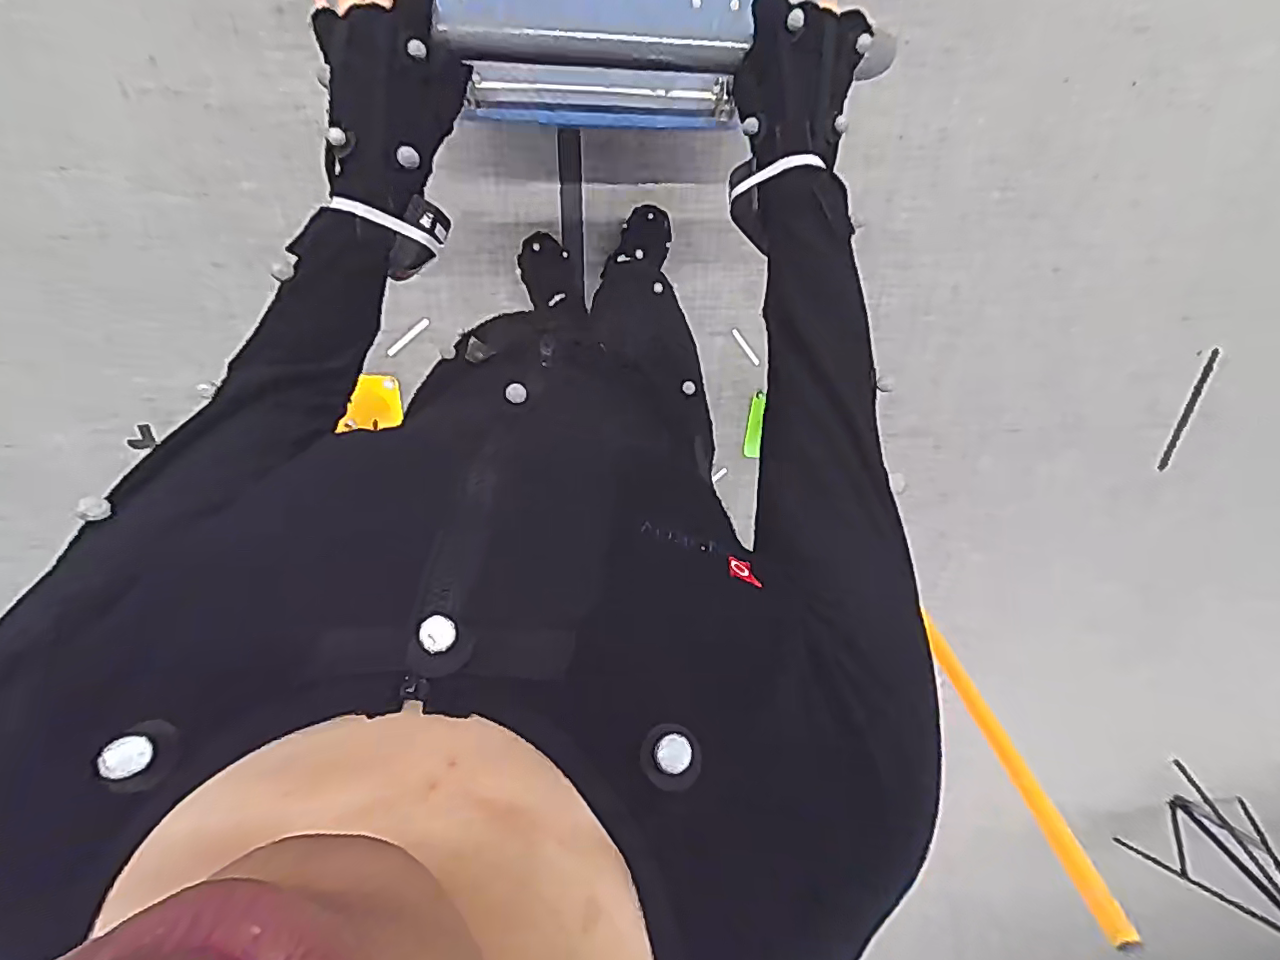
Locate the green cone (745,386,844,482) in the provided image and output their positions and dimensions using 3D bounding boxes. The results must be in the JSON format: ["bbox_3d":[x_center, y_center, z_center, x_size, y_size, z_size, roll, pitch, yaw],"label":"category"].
[{"bbox_3d":[0.423,-0.091,1.387,0.202,0.368,0.200,1,117,-7],"label":"green cone"}]
